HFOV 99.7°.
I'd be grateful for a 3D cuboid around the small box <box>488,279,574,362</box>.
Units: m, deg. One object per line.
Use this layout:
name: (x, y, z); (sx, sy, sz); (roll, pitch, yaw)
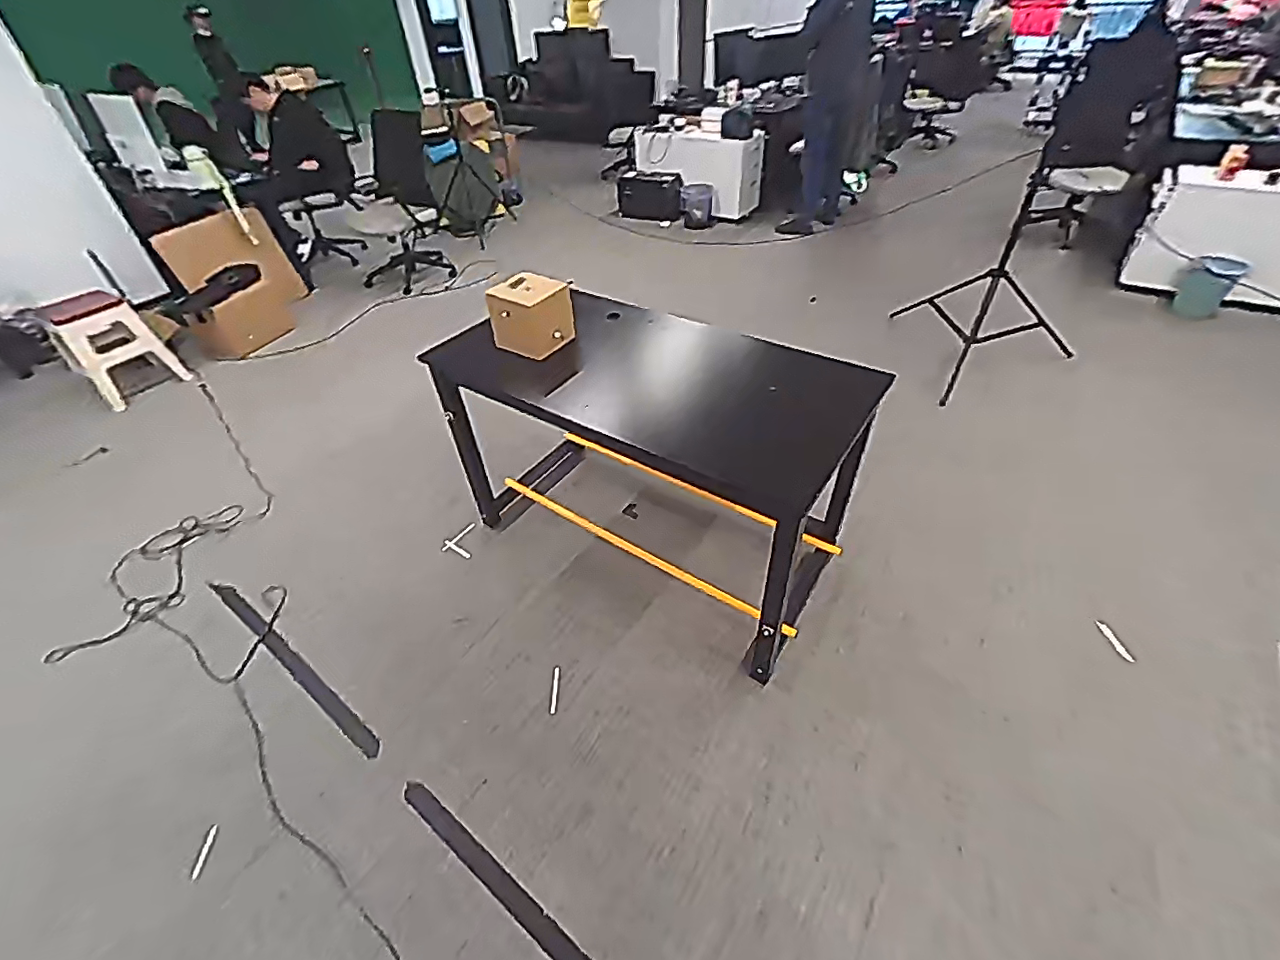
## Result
small box: (-0.314, -0.467, 1.587); (0.179, 0.176, 0.168); (23, 48, 25)
